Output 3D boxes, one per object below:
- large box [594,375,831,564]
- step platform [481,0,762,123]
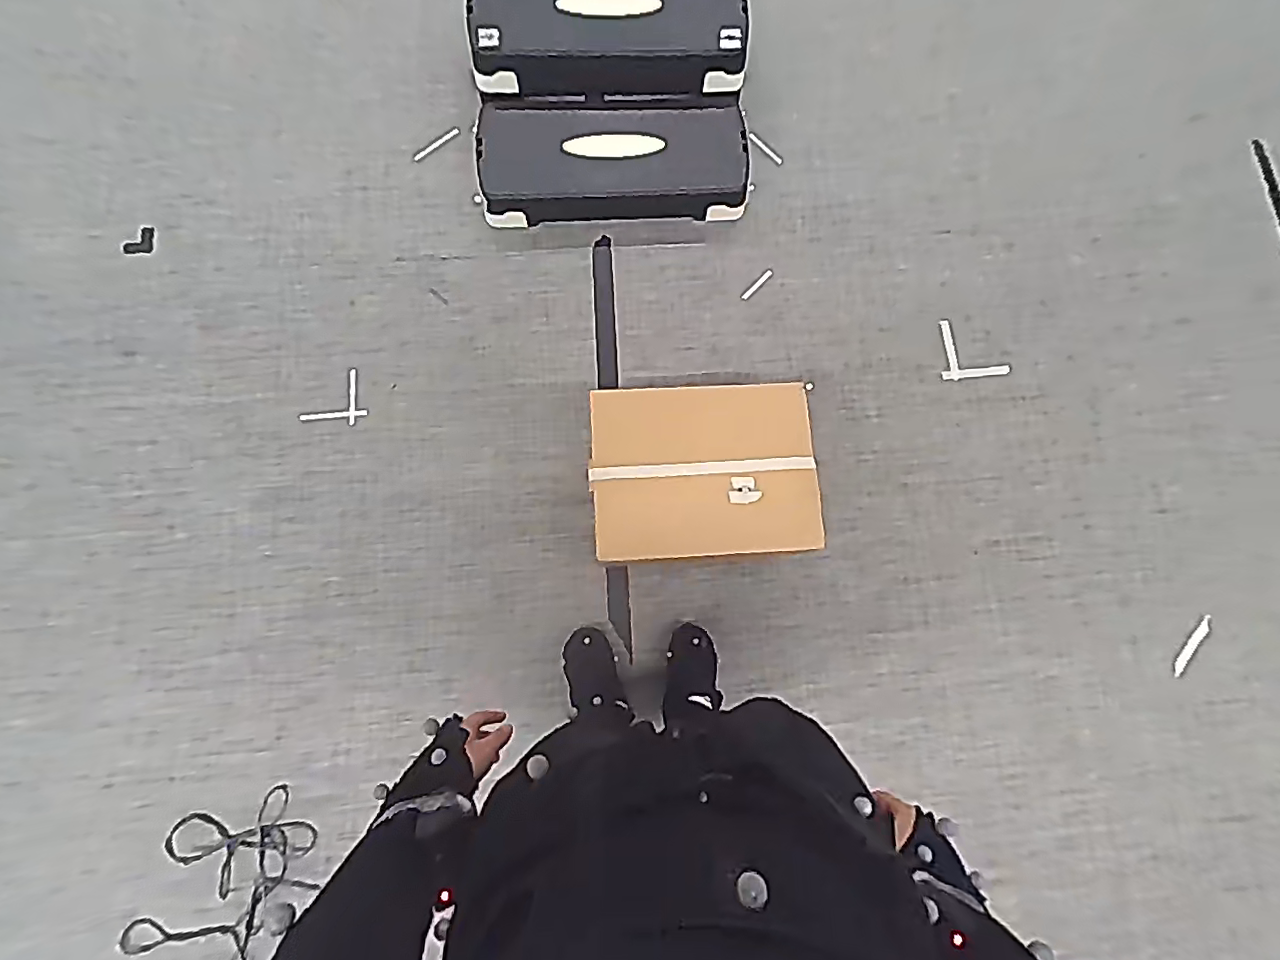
[{"bbox_3d":[0.117,-0.003,1.104,0.408,0.320,0.320,-3,80,-4],"label":"large box"},{"bbox_3d":[-0.044,-1.111,1.356,0.684,0.204,0.286,3,80,-3],"label":"step platform"}]
